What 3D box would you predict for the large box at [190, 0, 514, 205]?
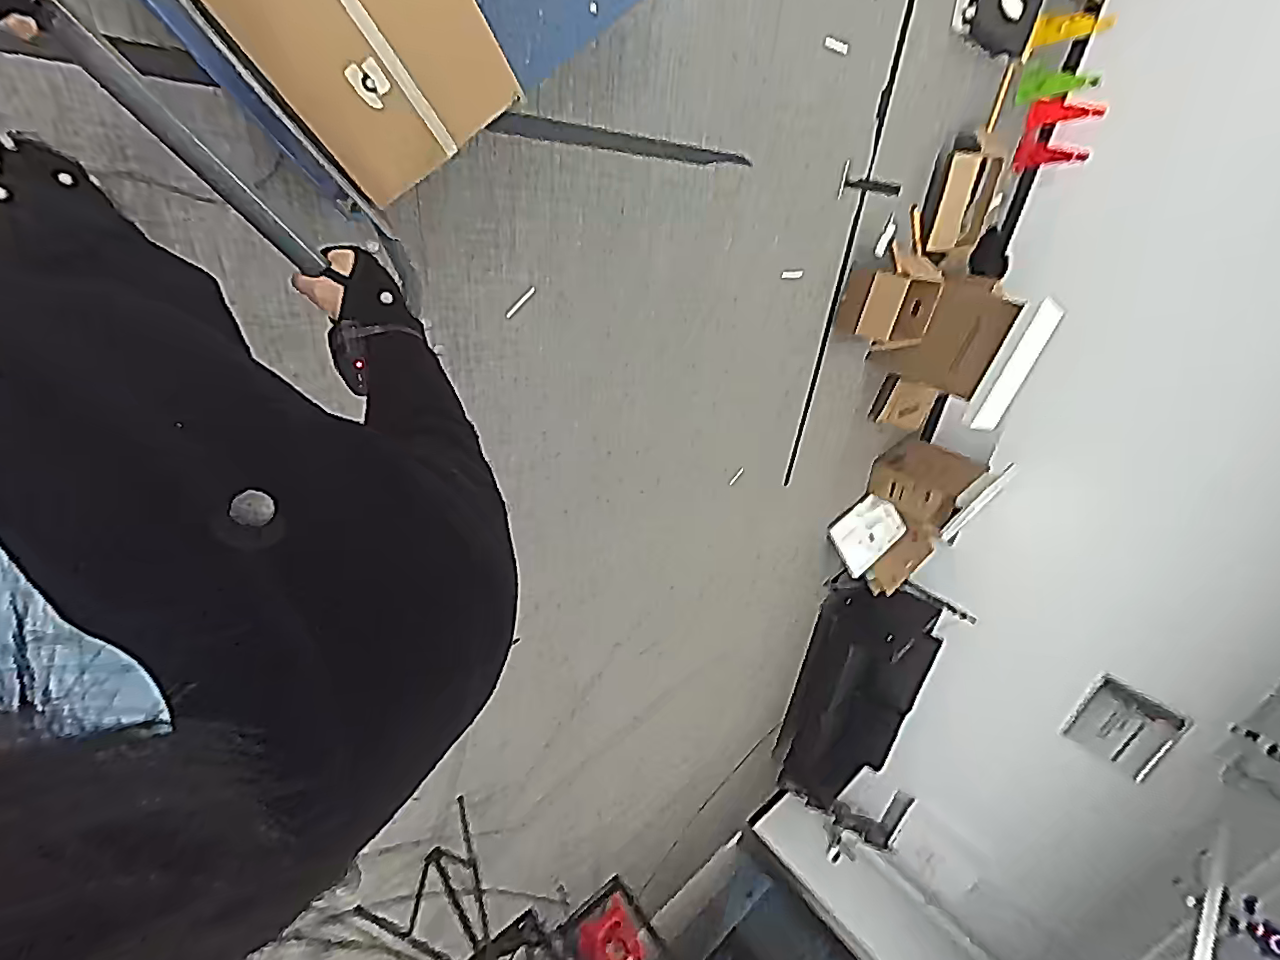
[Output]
[{"bbox_3d":[-0.482,-0.737,0.847,0.320,0.320,0.408,-40,141,-2],"label":"large box"}]
